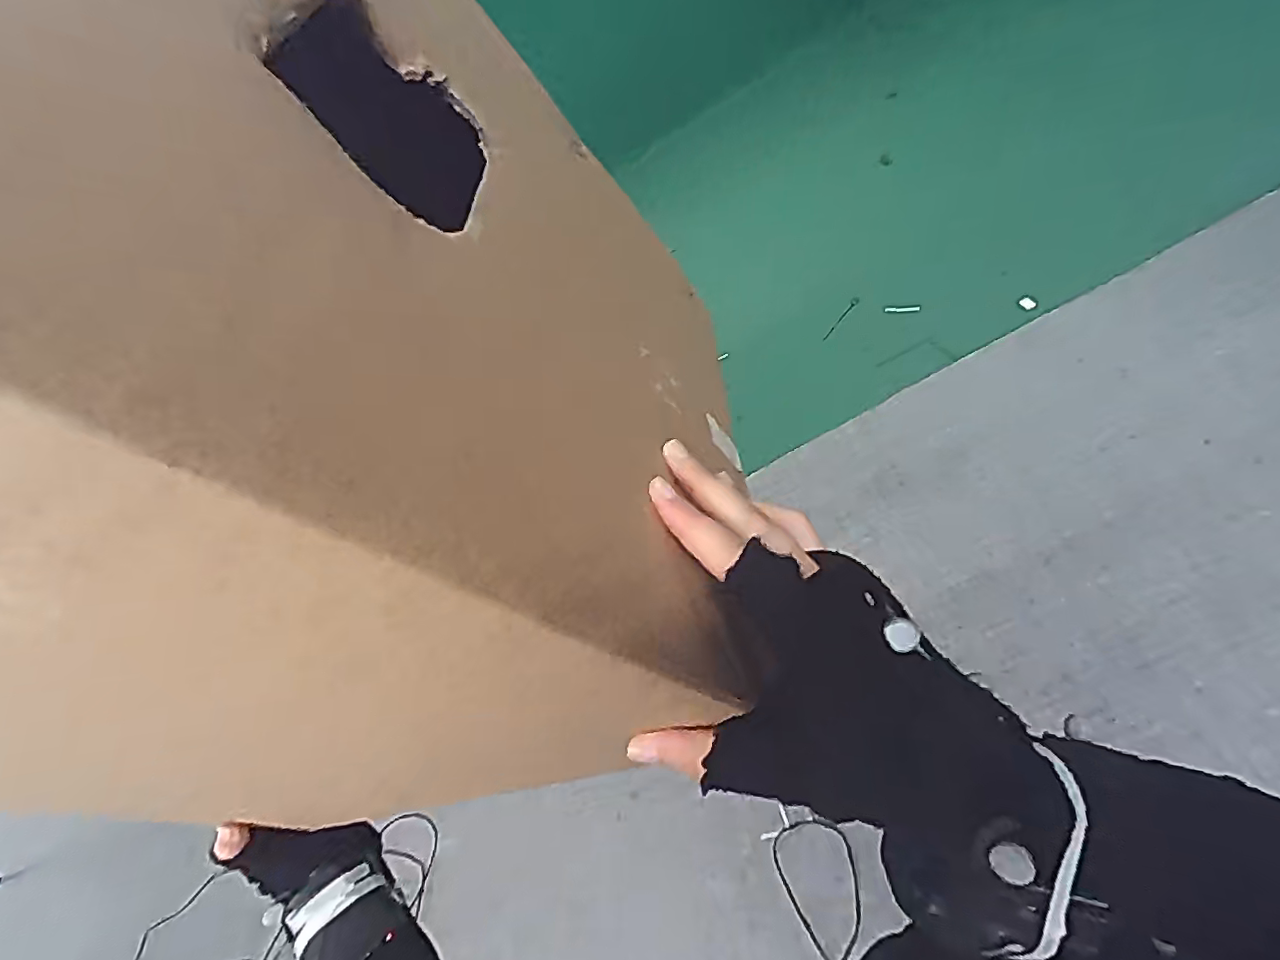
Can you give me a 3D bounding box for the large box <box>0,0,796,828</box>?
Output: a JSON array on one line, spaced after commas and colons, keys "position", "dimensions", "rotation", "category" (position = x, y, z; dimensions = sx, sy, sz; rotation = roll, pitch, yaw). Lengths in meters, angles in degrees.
[{"position": [-0.179, -0.006, 0.329], "dimensions": [0.408, 0.320, 0.320], "rotation": [-26, 46, 26], "category": "large box"}]
